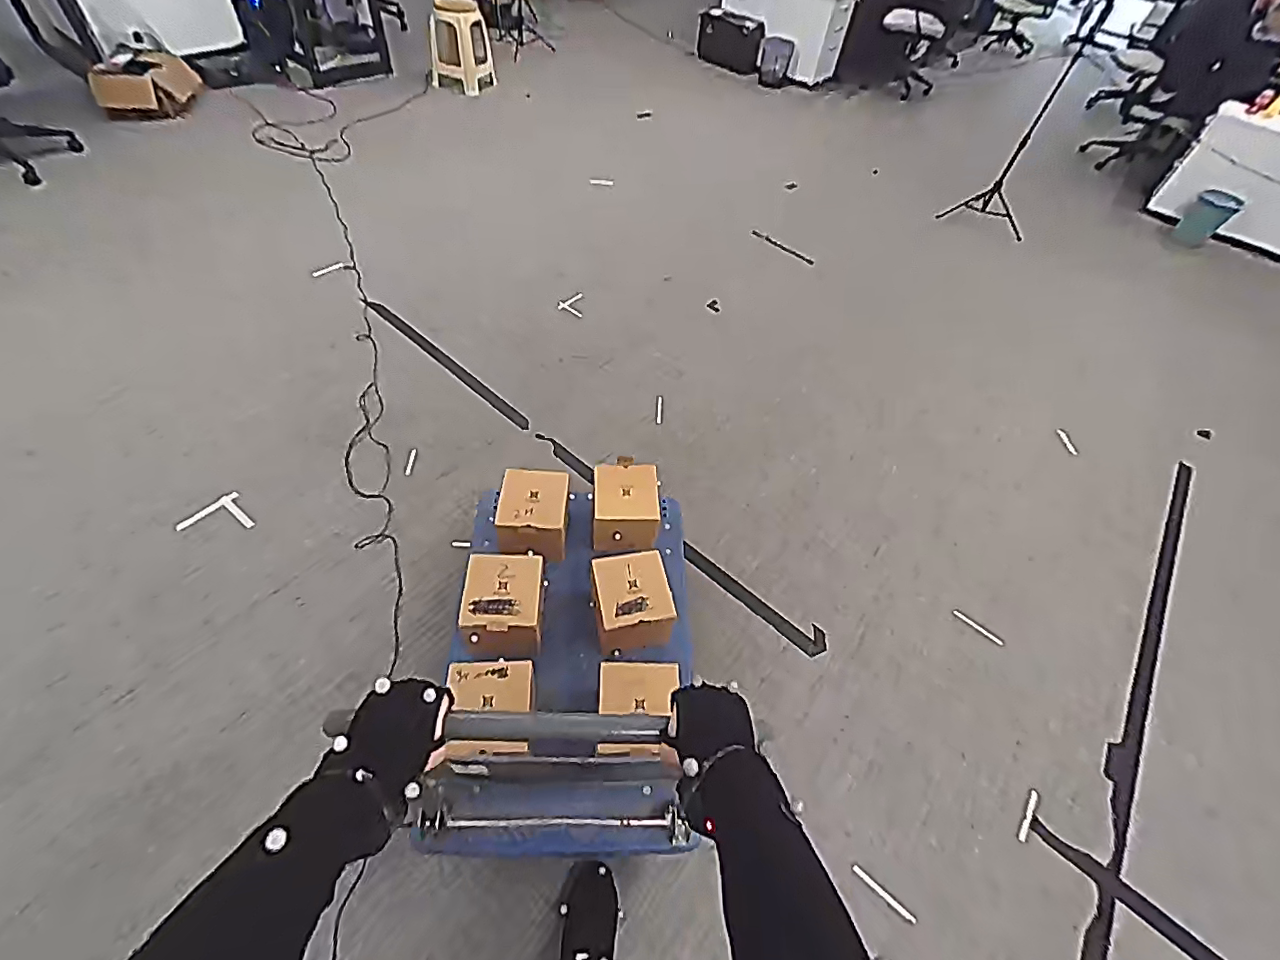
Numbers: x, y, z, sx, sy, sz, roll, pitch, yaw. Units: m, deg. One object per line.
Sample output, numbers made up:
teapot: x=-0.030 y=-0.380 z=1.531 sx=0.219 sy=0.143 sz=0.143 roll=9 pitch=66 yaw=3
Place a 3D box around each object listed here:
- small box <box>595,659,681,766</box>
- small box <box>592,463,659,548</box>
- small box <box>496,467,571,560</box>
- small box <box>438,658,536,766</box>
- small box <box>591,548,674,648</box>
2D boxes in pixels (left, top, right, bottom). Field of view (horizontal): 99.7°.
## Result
small box: x=-0.008 y=0.496 z=1.146 sx=0.168 sy=0.176 sz=0.179 roll=4 pitch=51 yaw=-5
small box: x=-0.043 y=0.074 z=1.466 sx=0.168 sy=0.176 sz=0.179 roll=1 pitch=53 yaw=-7
small box: x=-0.274 y=0.089 z=1.422 sx=0.168 sy=0.176 sz=0.179 roll=4 pitch=53 yaw=-4
small box: x=-0.305 y=0.482 z=1.116 sx=0.168 sy=0.176 sz=0.179 roll=1 pitch=53 yaw=-8
small box: x=-0.024 y=0.290 z=1.301 sx=0.168 sy=0.176 sz=0.179 roll=-6 pitch=53 yaw=-12
